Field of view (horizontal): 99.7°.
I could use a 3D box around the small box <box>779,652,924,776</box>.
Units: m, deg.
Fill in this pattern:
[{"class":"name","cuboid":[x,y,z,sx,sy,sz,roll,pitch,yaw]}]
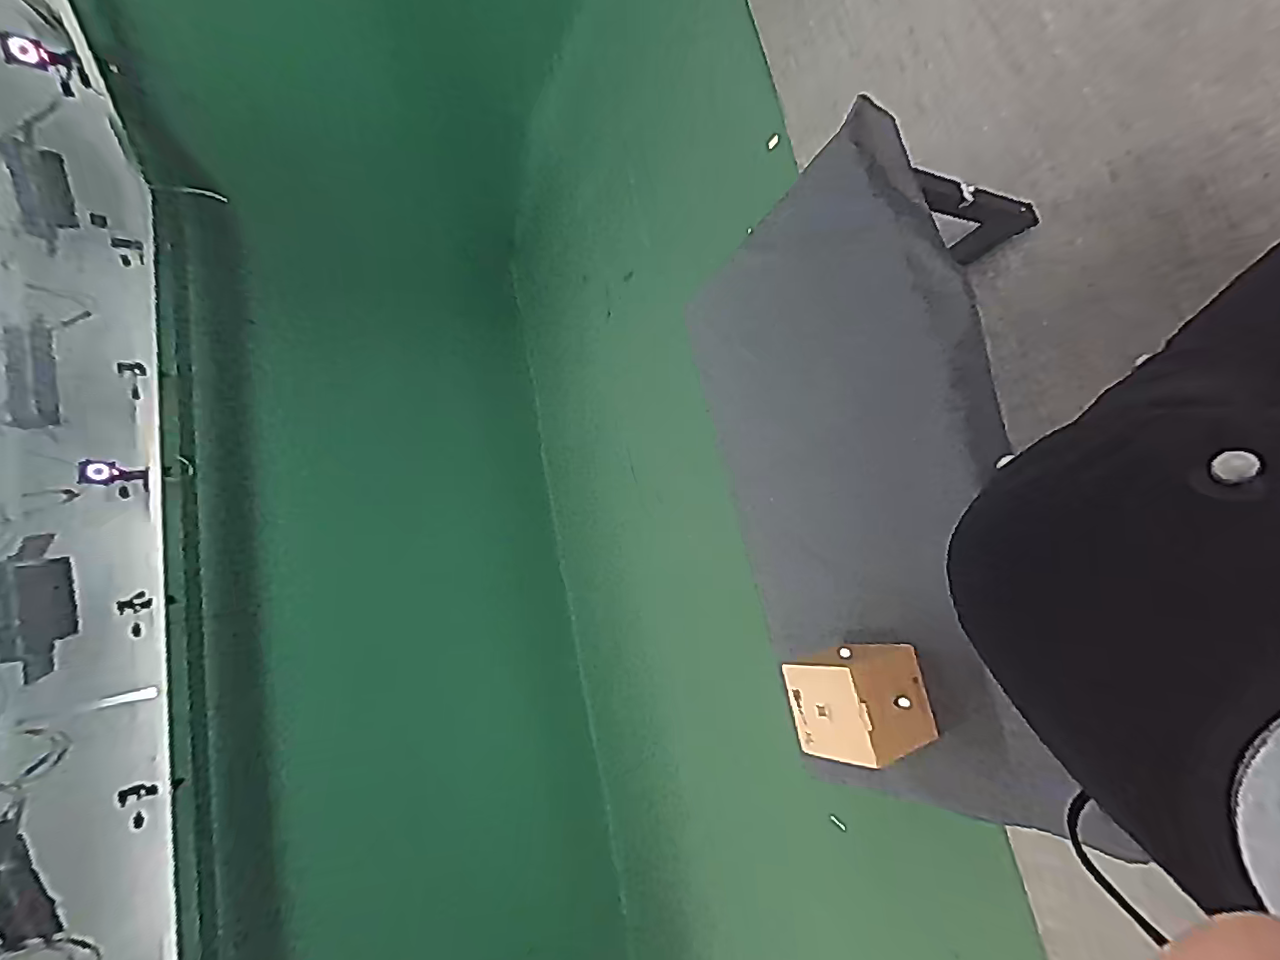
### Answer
[{"class":"small box","cuboid":[0.393,0.419,0.999,0.179,0.176,0.168,-29,68,57]}]
